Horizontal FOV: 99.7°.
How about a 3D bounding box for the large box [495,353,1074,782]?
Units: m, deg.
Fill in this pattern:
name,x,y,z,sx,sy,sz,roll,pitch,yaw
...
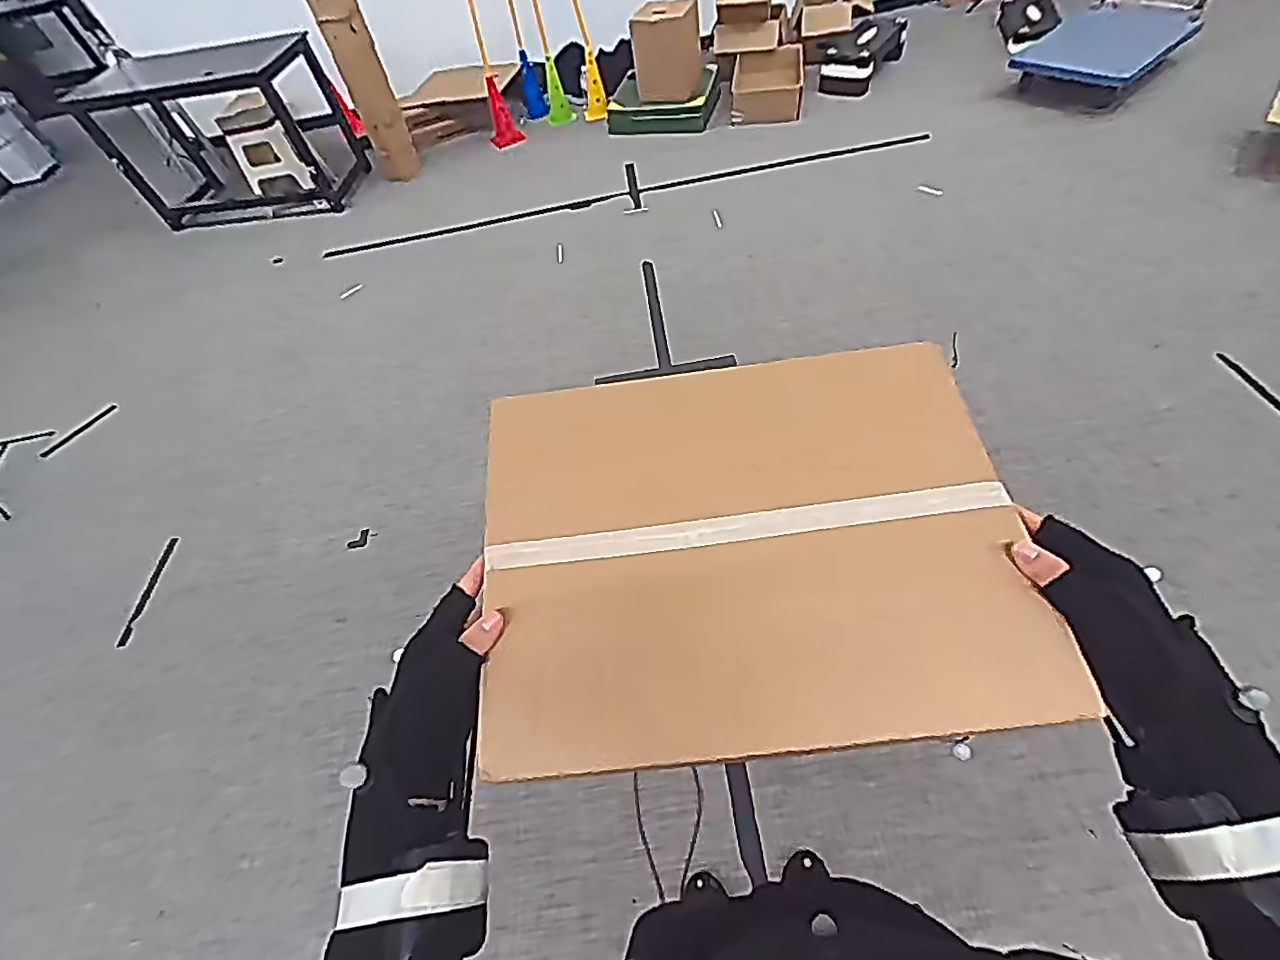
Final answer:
name,x,y,z,sx,sy,sz,roll,pitch,yaw
large box,0.096,0.111,0.565,0.408,0.320,0.320,-8,62,3
